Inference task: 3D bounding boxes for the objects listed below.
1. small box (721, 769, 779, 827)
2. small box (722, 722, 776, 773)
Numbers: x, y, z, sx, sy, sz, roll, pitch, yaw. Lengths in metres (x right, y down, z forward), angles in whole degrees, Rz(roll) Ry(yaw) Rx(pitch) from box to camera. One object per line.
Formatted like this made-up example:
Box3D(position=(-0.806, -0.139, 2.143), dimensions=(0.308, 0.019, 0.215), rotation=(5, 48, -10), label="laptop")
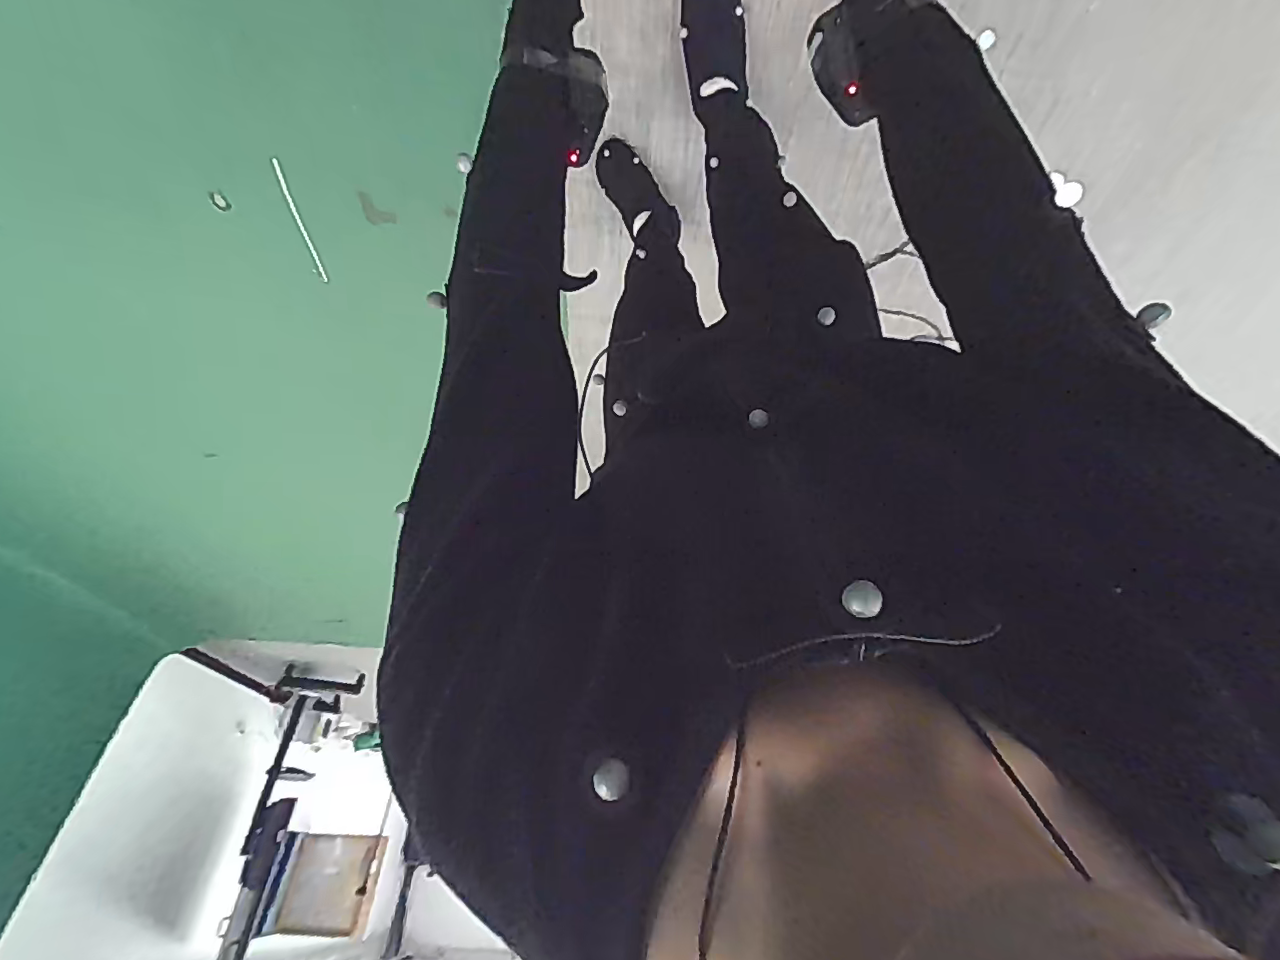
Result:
Box3D(position=(0.403, 1.179, 2.007), dimensions=(0.179, 0.176, 0.168), rotation=(4, 142, 0), label="small box")
Box3D(position=(0.416, 1.054, 2.108), dimensions=(0.168, 0.176, 0.179), rotation=(6, 142, -3), label="small box")
